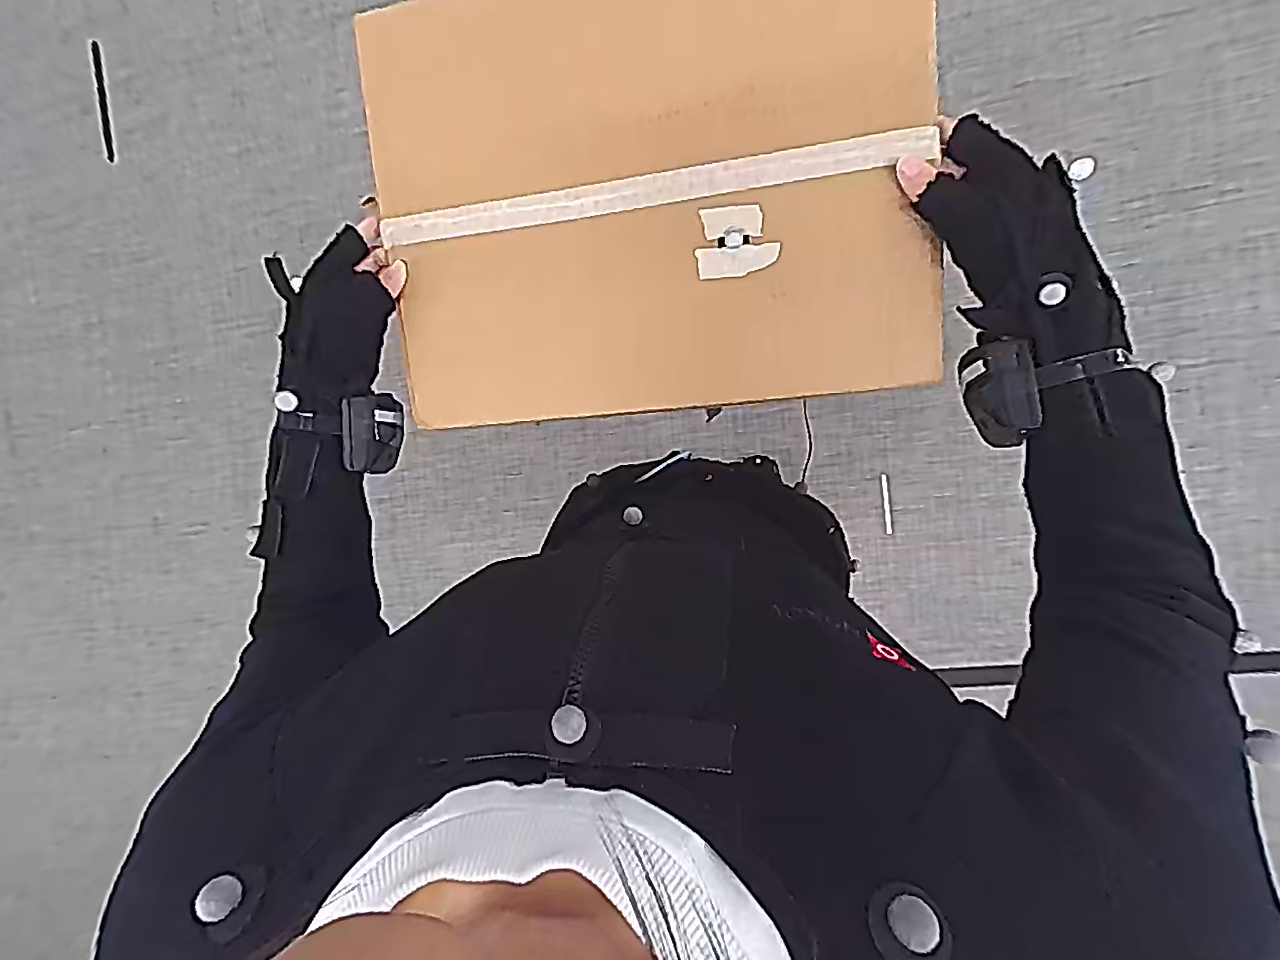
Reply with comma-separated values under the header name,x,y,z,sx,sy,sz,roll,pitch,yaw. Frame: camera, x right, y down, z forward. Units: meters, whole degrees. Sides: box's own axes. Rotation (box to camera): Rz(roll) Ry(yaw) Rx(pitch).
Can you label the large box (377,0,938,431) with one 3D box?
name,x,y,z,sx,sy,sz,roll,pitch,yaw
large box,0.025,-0.231,0.551,0.408,0.320,0.320,-5,98,9
